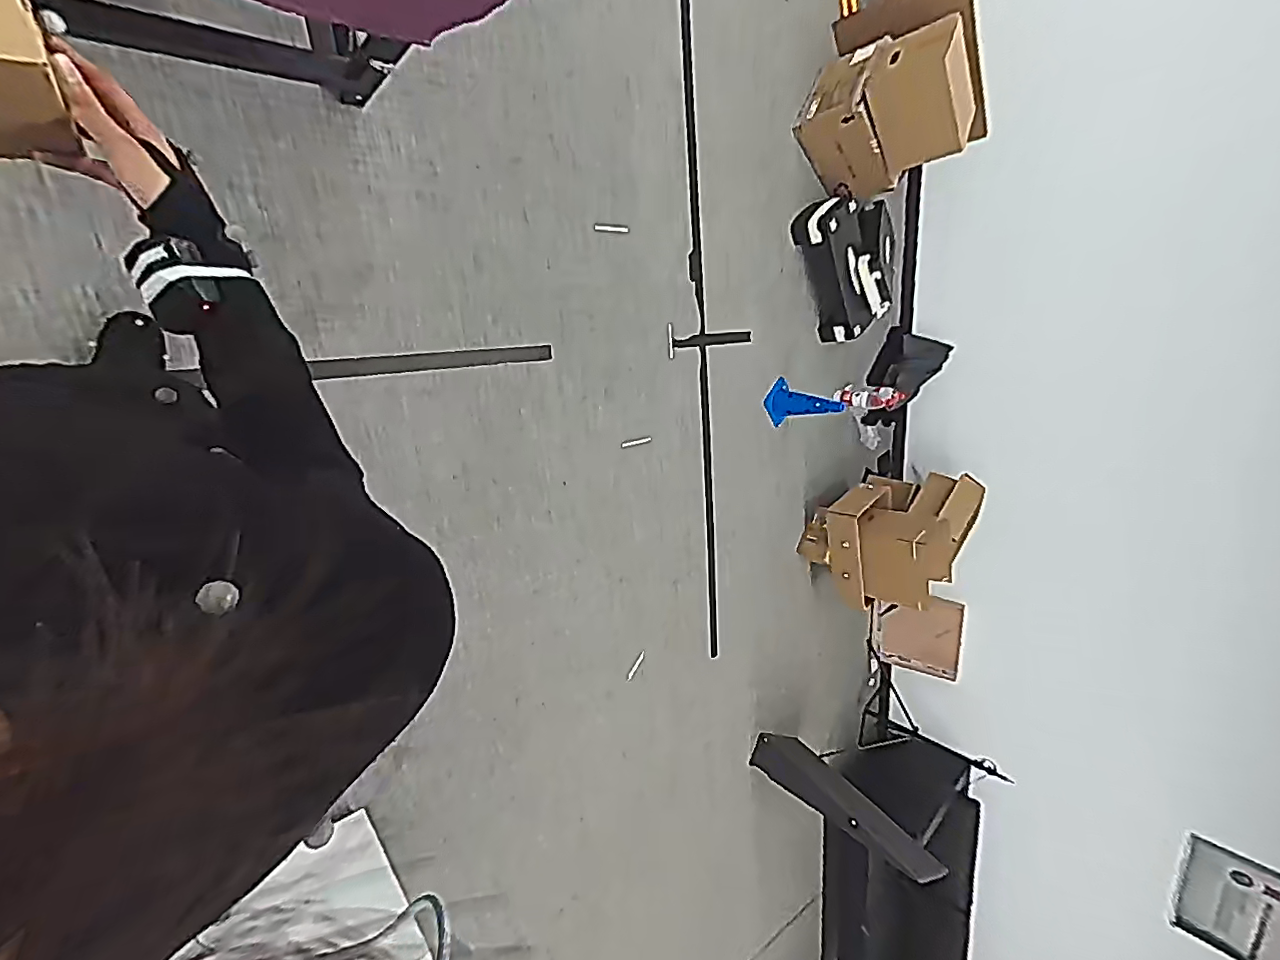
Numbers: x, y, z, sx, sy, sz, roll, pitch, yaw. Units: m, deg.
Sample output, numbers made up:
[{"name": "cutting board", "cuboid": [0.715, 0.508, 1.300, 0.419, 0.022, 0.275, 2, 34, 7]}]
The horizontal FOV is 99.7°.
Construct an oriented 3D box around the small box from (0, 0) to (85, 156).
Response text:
[{"name": "small box", "cuboid": [-0.512, -0.330, 0.345, 0.179, 0.176, 0.168, -21, 108, -37]}]
